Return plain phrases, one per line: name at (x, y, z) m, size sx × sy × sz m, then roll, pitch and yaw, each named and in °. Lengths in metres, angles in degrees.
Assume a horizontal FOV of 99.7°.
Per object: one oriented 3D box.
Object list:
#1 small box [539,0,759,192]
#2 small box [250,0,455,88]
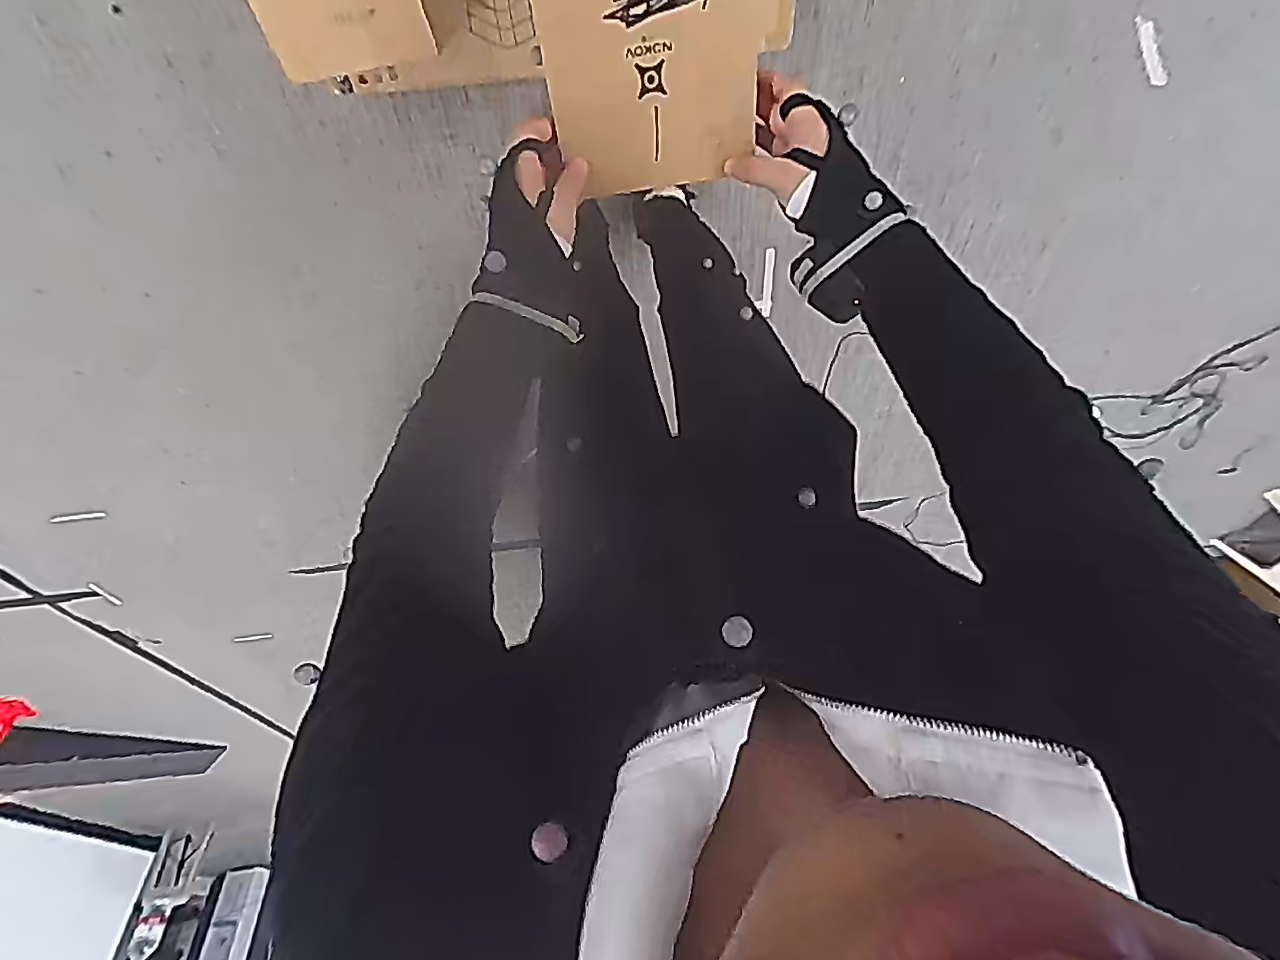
small box at (0.004, -0.384, 0.478) m, size 0.168 × 0.176 × 0.179 m, roll -7°, pitch 136°, yaw 2°
small box at (-0.311, -0.549, 0.568) m, size 0.168 × 0.176 × 0.179 m, roll -11°, pitch 138°, yaw 2°
